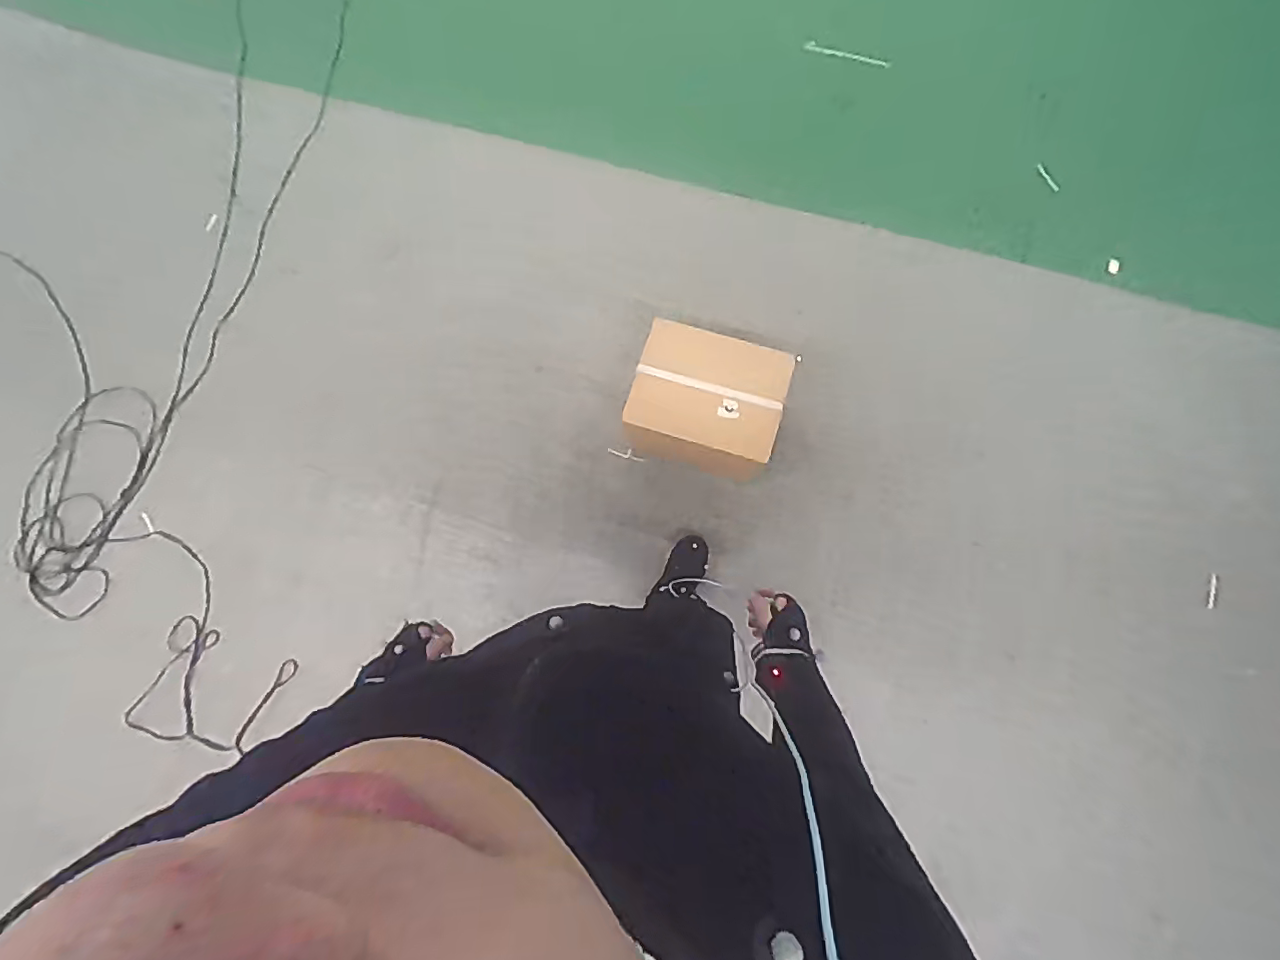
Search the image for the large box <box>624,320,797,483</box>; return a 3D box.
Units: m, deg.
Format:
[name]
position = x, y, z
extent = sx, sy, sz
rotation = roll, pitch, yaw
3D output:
[large box]
position = 0.193, -0.214, 1.581
extent = 0.408, 0.320, 0.320
rotation = 17, 81, 6
